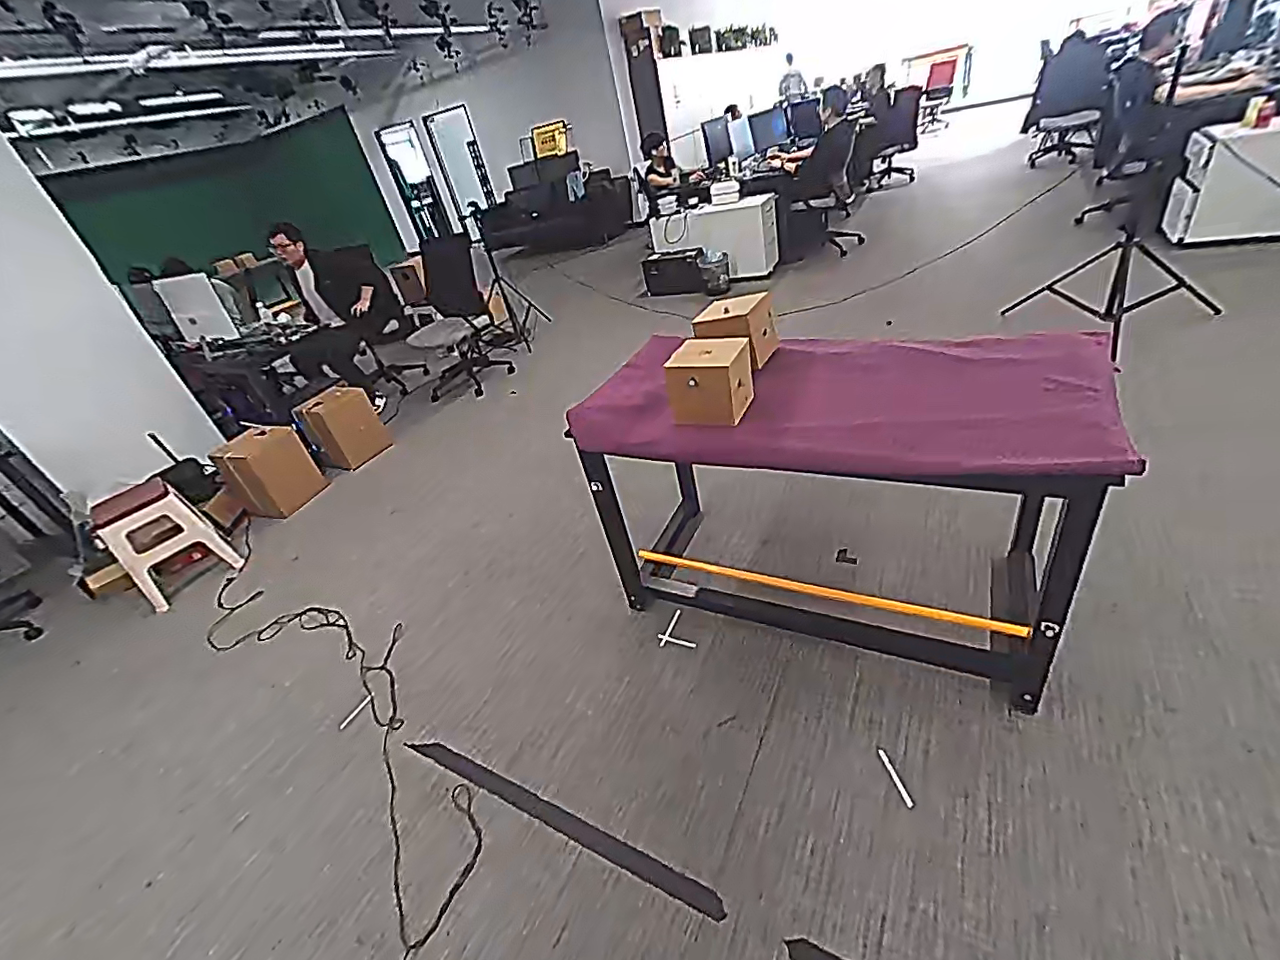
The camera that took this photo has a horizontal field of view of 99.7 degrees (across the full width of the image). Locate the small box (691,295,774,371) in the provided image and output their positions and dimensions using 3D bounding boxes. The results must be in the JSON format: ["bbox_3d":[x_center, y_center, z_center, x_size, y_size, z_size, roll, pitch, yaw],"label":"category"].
[{"bbox_3d":[0.279,-0.424,1.578,0.179,0.168,0.176,3,36,36],"label":"small box"}]

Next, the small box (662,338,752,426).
[{"bbox_3d":[0.180,-0.251,1.388,0.179,0.176,0.168,6,39,28],"label":"small box"}]
